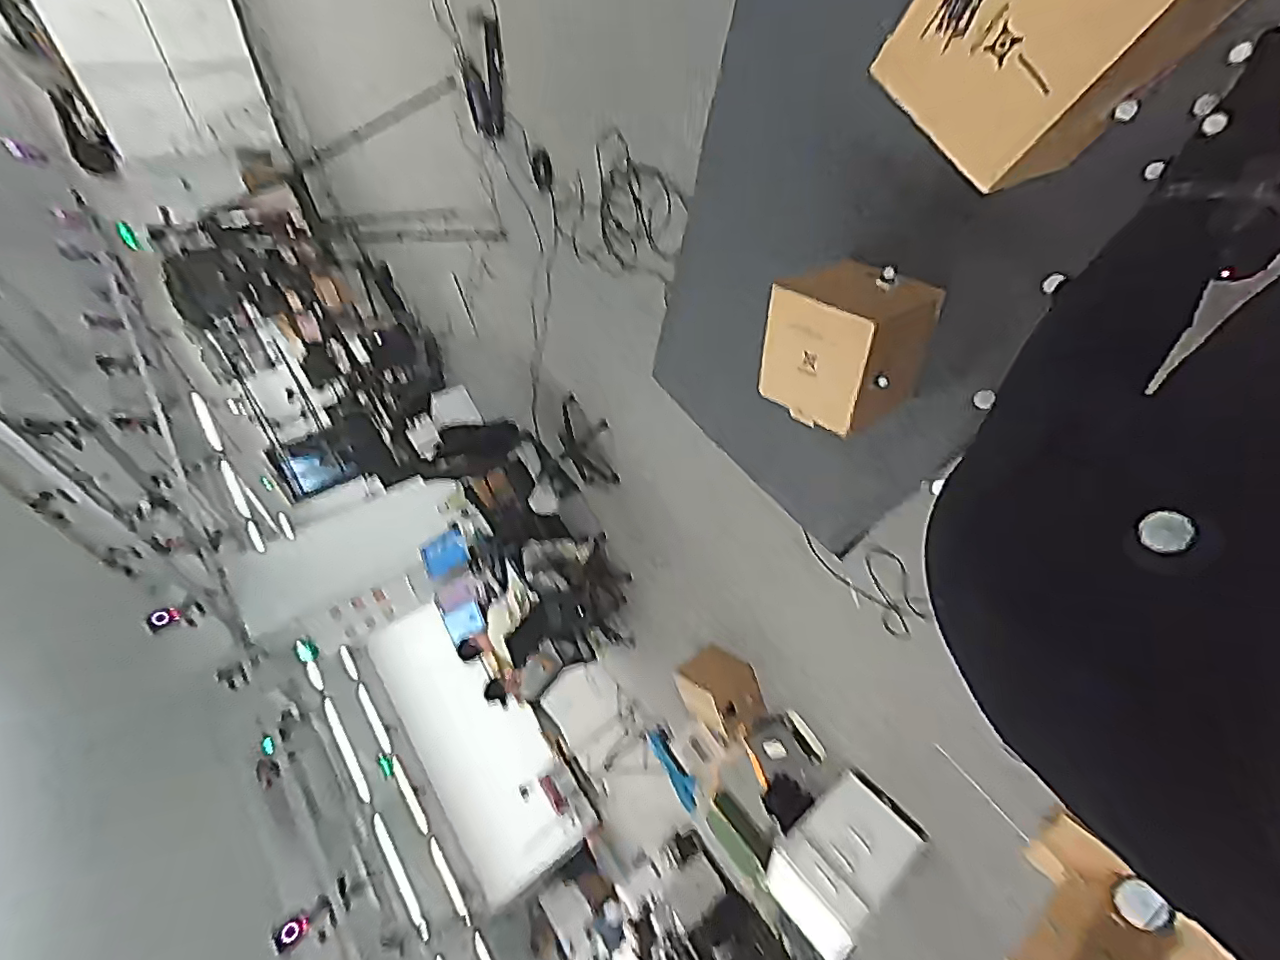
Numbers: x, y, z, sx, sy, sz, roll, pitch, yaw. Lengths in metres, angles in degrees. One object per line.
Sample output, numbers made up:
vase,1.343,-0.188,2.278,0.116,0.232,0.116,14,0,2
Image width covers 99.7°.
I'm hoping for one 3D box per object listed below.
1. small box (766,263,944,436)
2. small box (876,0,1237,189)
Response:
small box,0.311,-0.198,0.796,0.168,0.176,0.179,37,143,39
small box,0.368,-0.407,0.493,0.179,0.176,0.168,56,153,12
